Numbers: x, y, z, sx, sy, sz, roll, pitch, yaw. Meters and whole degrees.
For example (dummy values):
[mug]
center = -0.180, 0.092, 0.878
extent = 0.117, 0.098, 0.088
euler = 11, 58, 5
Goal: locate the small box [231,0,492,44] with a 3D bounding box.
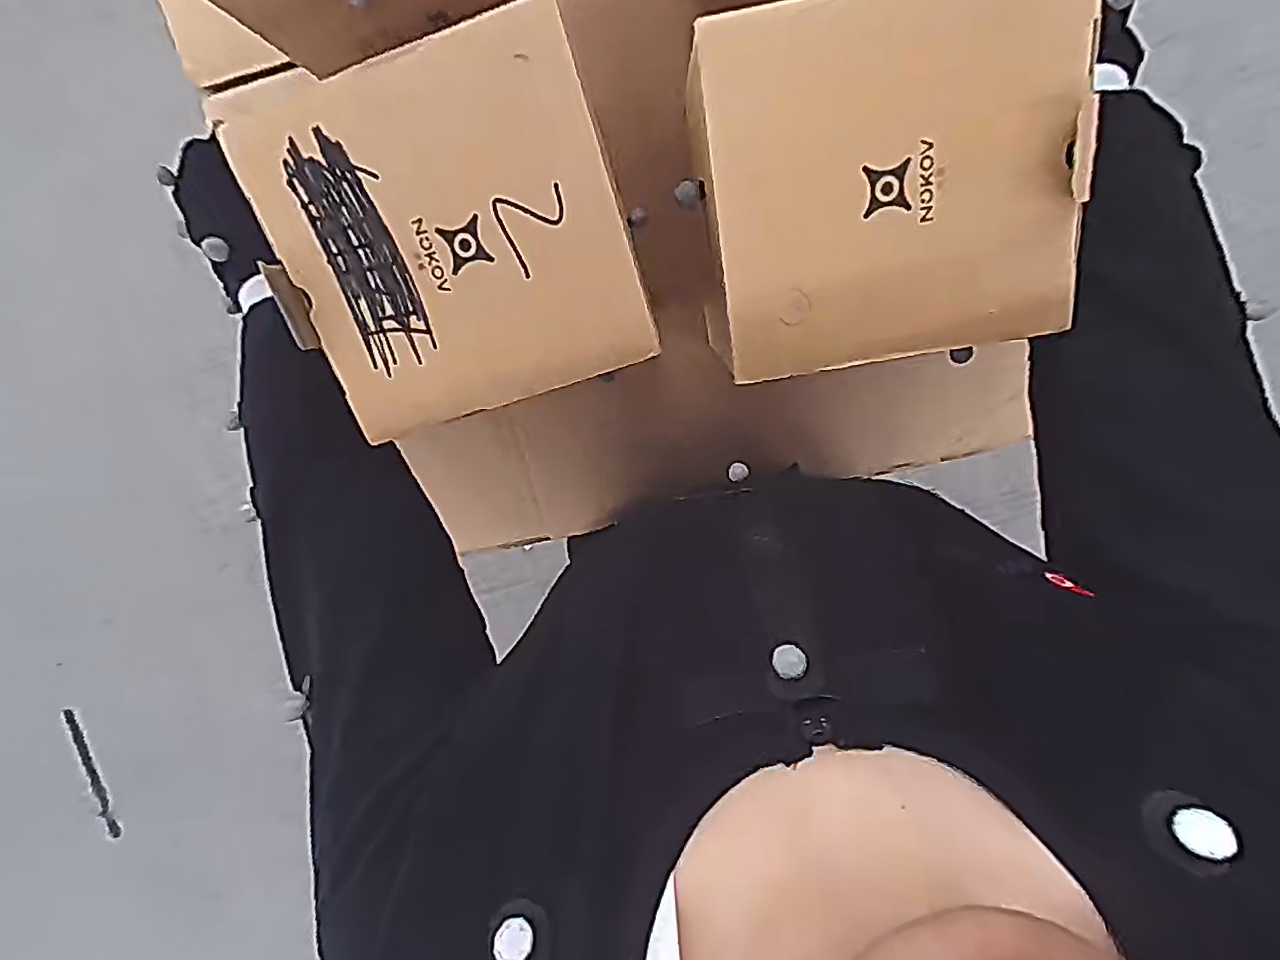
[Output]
[small box]
center = -0.183, -0.372, 0.281
extent = 0.168, 0.176, 0.179
euler = -13, 106, 6
